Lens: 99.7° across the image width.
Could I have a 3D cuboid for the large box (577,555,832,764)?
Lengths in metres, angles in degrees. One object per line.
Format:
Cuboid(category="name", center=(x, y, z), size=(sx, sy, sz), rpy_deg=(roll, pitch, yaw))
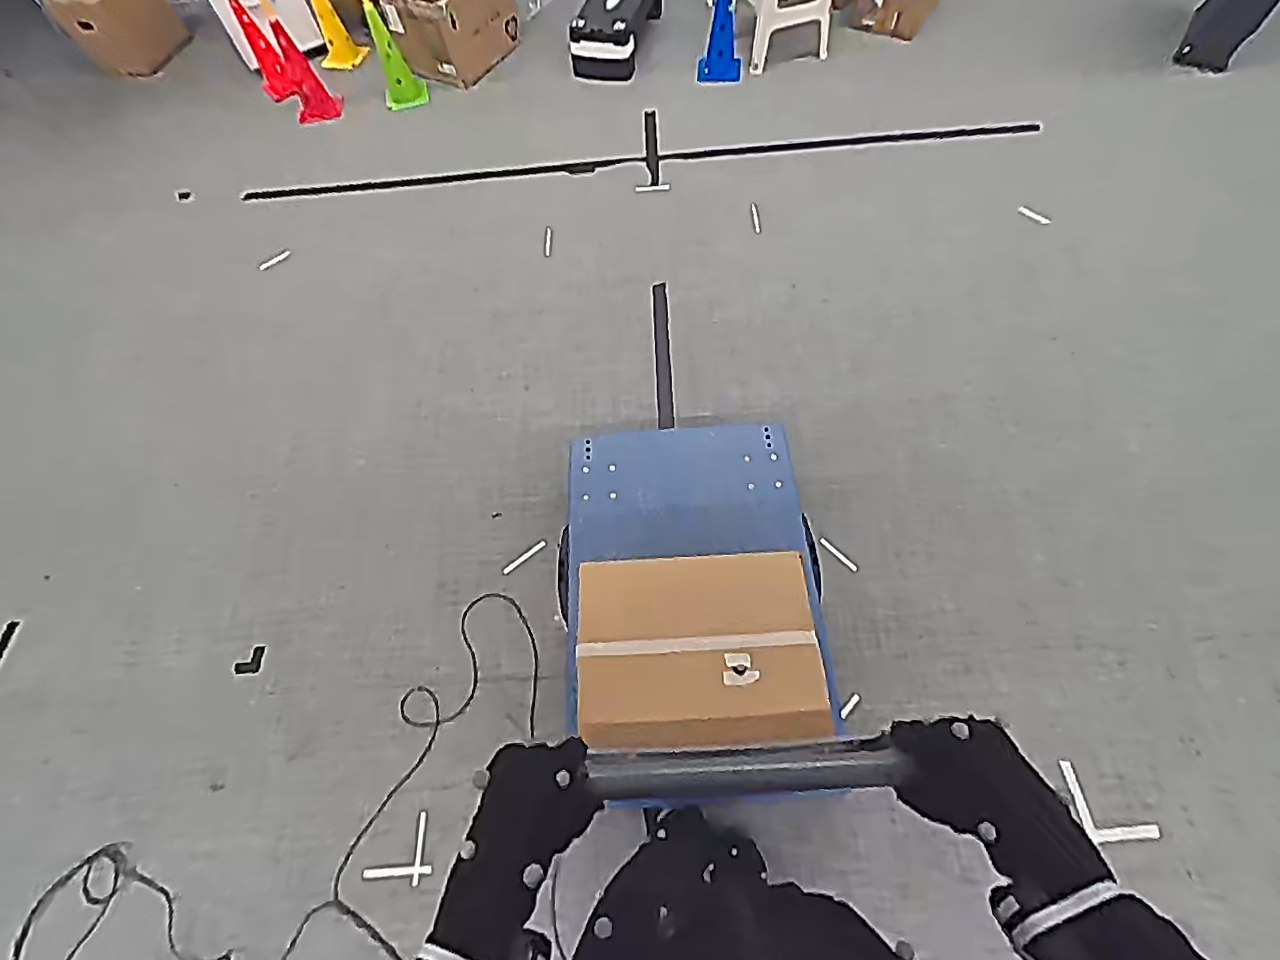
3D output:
Cuboid(category="large box", center=(0.097, 0.355, 1.037), size=(0.408, 0.320, 0.320), rpy_deg=(-3, 62, 1))
